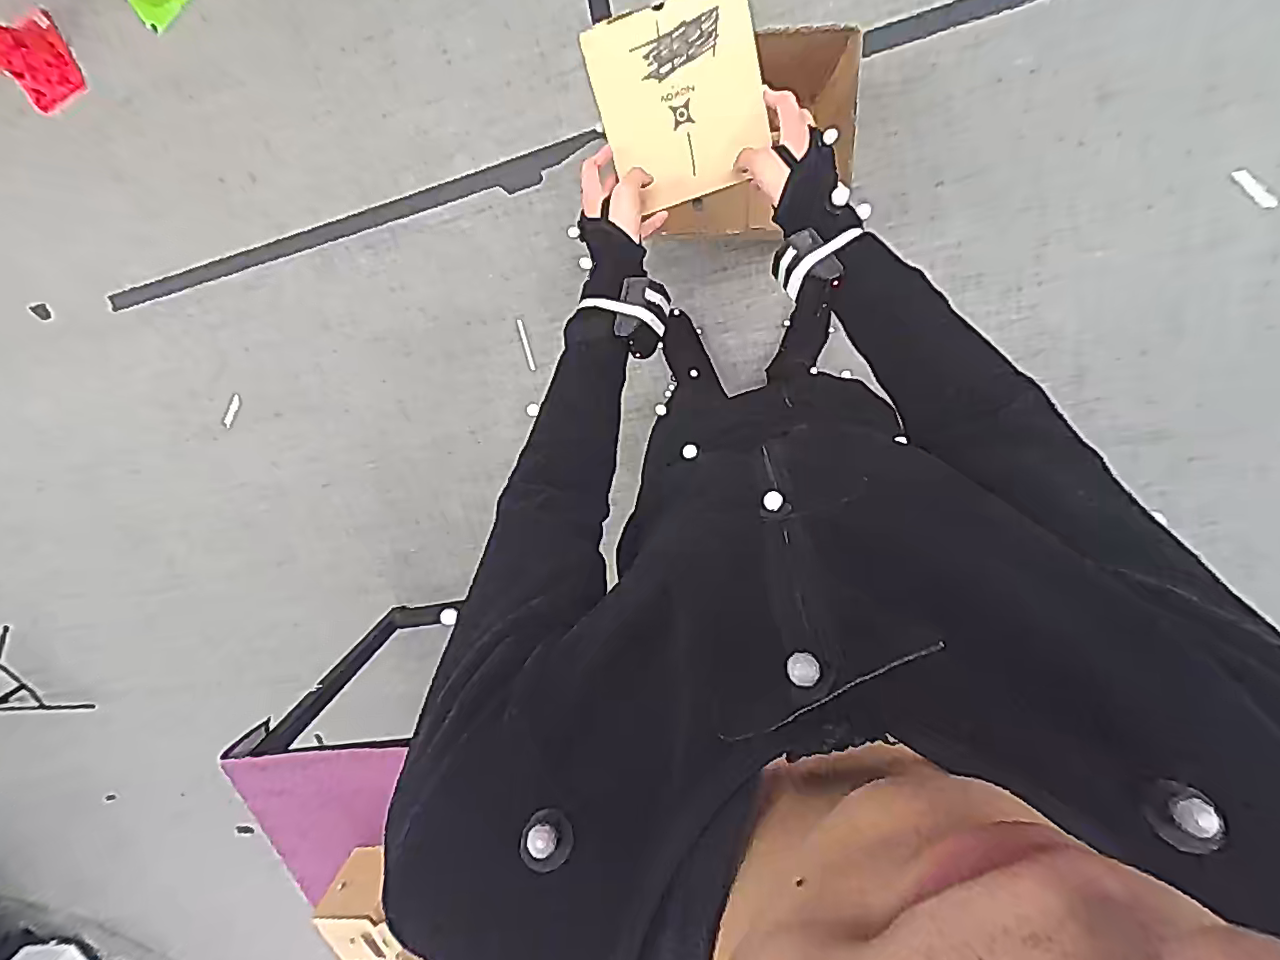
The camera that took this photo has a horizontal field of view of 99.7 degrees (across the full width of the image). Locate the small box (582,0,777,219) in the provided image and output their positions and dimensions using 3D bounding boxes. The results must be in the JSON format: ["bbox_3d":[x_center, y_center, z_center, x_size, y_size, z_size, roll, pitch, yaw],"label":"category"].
[{"bbox_3d":[0.049,-0.414,0.614,0.168,0.176,0.179,-13,117,13],"label":"small box"}]
